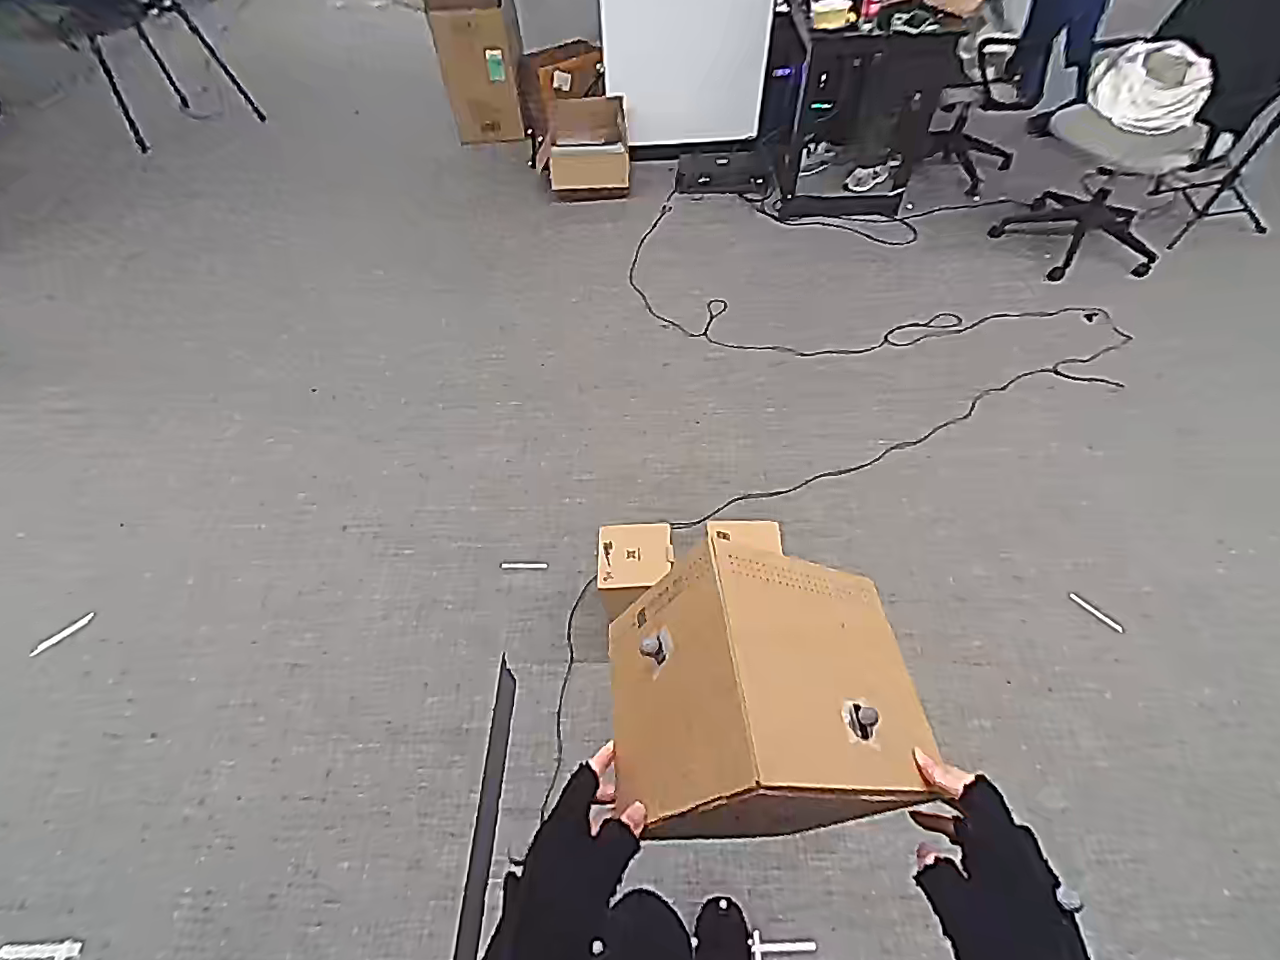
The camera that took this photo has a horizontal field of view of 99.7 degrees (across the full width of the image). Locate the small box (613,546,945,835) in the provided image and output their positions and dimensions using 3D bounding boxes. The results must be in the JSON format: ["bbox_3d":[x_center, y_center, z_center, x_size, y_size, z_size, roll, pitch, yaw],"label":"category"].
[{"bbox_3d":[0.092,0.172,0.435,0.179,0.168,0.176,17,45,-25],"label":"small box"}]

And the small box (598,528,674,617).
[{"bbox_3d":[-0.006,0.231,1.333,0.179,0.176,0.168,-1,54,2],"label":"small box"}]

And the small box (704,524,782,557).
[{"bbox_3d":[0.247,0.221,1.329,0.179,0.176,0.168,1,55,1],"label":"small box"}]
